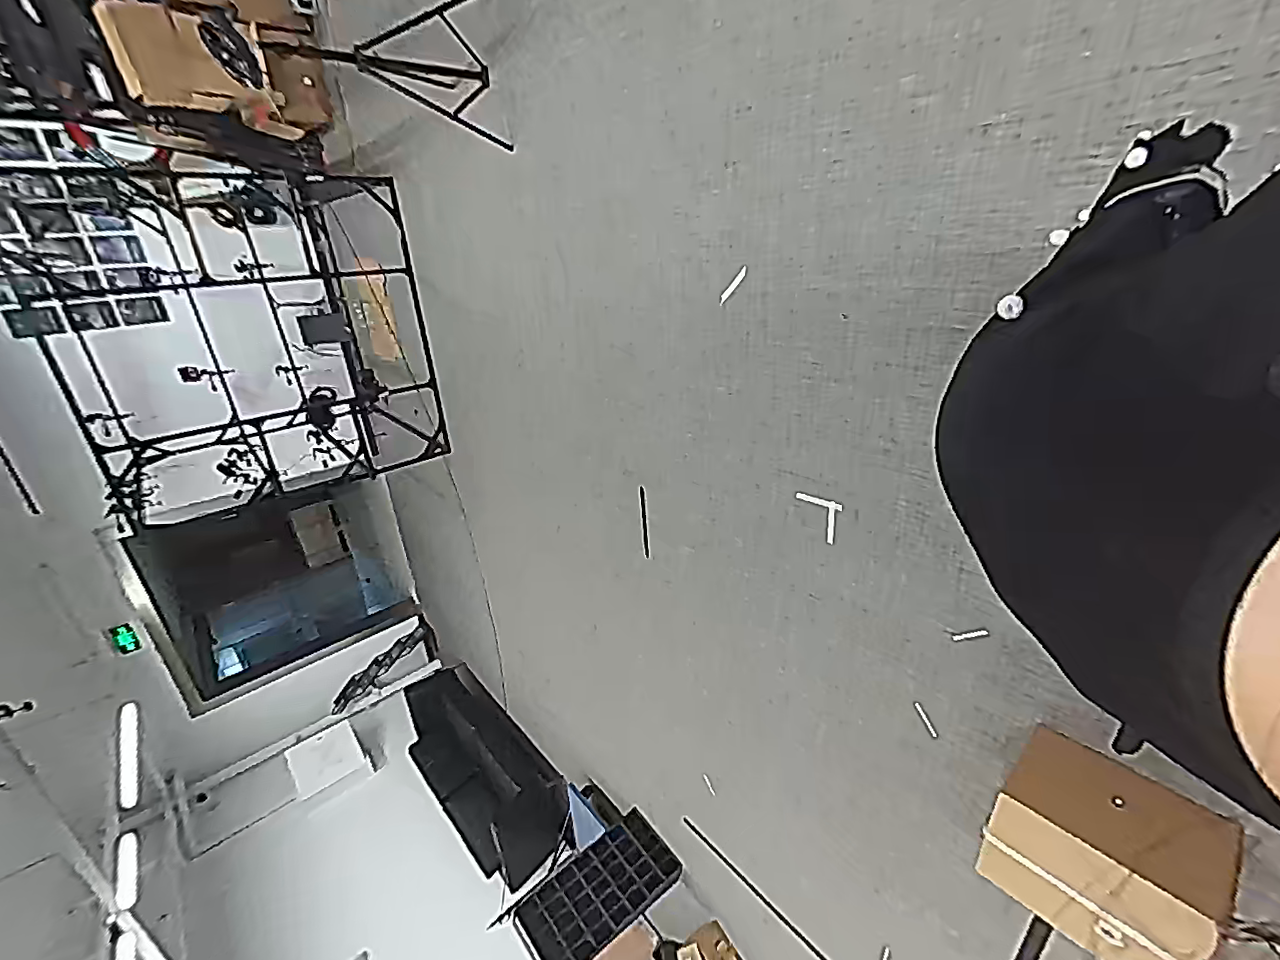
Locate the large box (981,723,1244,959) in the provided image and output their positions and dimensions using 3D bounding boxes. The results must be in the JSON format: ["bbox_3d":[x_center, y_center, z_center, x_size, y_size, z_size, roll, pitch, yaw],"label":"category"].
[{"bbox_3d":[1.141,0.898,1.336,0.408,0.320,0.320,22,124,44],"label":"large box"}]
